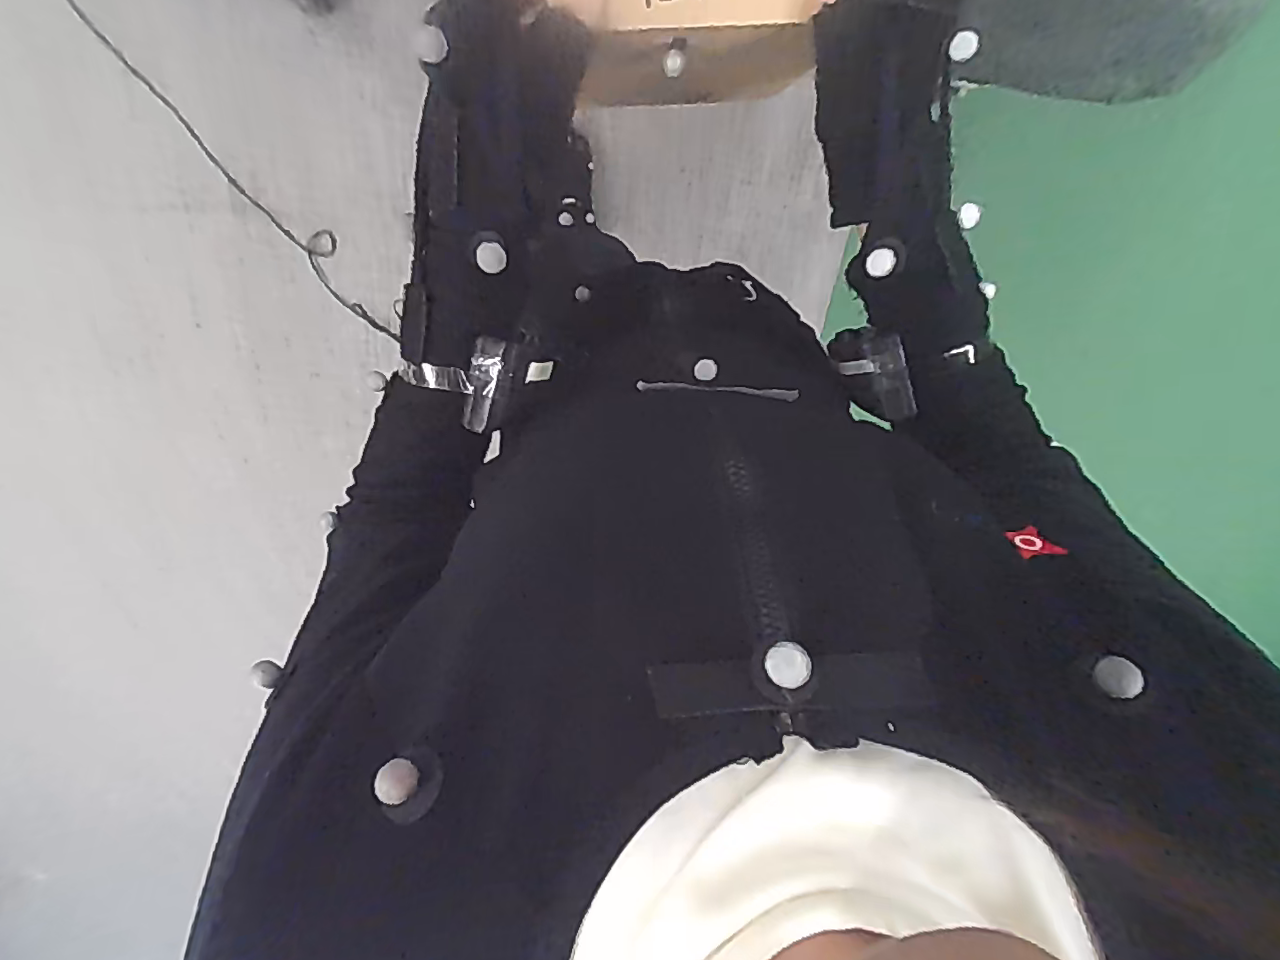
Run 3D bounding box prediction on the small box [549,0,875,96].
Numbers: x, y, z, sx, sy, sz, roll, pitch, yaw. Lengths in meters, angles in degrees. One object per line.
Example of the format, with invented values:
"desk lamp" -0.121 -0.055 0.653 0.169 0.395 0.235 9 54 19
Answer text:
"small box" 0.026 -0.341 0.303 0.168 0.176 0.179 -4 115 -3
